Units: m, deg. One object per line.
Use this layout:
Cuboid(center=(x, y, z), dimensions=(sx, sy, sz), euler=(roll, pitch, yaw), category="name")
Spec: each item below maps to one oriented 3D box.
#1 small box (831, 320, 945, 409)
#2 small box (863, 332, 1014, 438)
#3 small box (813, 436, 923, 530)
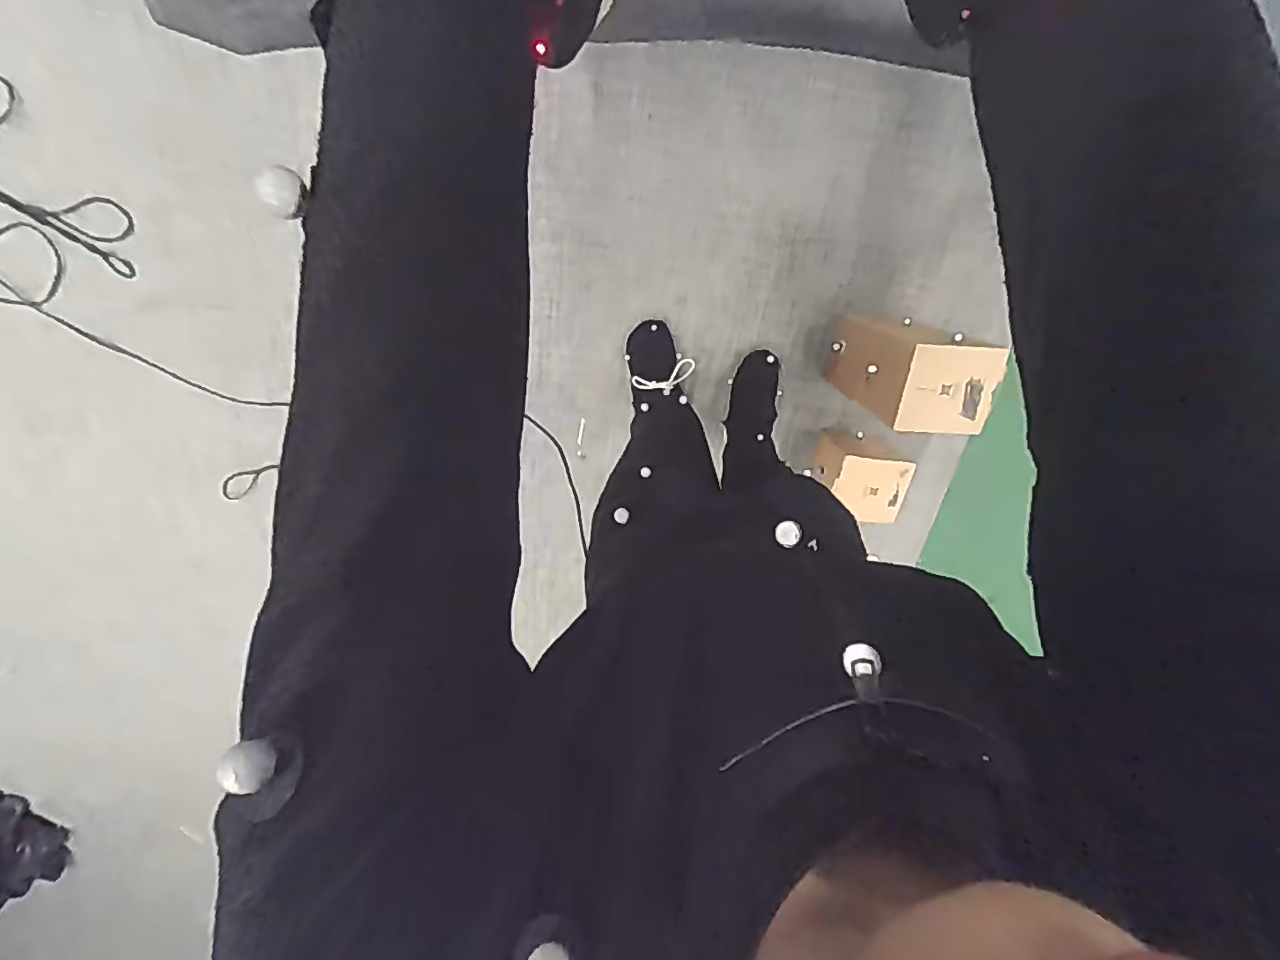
Cuboid(center=(0.551, -0.257, 1.199), dimensions=(0.179, 0.176, 0.168), euler=(2, 114, -3), category="small box")
Cuboid(center=(0.565, -0.188, 1.050), dimensions=(0.179, 0.176, 0.168), euler=(2, 115, -3), category="small box")
Cuboid(center=(0.543, 0.000, 1.321), dimensions=(0.179, 0.176, 0.168), euler=(7, 116, -4), category="small box")
